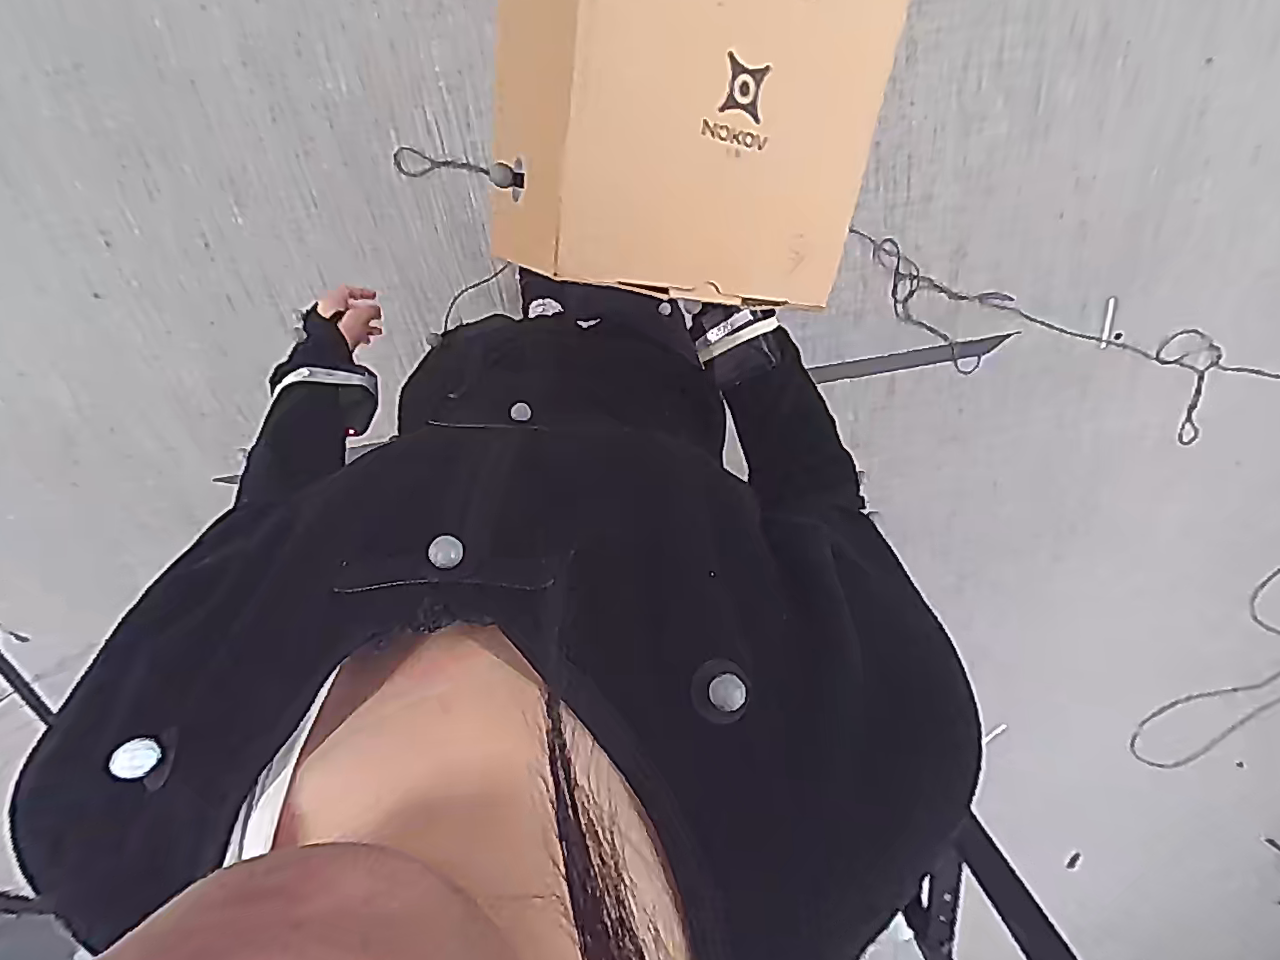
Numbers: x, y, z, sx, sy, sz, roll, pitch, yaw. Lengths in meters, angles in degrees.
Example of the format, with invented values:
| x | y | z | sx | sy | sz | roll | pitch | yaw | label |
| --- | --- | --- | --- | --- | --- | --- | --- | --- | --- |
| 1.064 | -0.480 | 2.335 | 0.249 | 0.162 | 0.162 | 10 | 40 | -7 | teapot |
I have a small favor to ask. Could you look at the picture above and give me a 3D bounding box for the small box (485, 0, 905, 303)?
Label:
| x | y | z | sx | sy | sz | roll | pitch | yaw | label |
| --- | --- | --- | --- | --- | --- | --- | --- | --- | --- |
| 0.011 | -0.209 | 0.308 | 0.168 | 0.176 | 0.179 | -3 | 114 | -26 | small box |
